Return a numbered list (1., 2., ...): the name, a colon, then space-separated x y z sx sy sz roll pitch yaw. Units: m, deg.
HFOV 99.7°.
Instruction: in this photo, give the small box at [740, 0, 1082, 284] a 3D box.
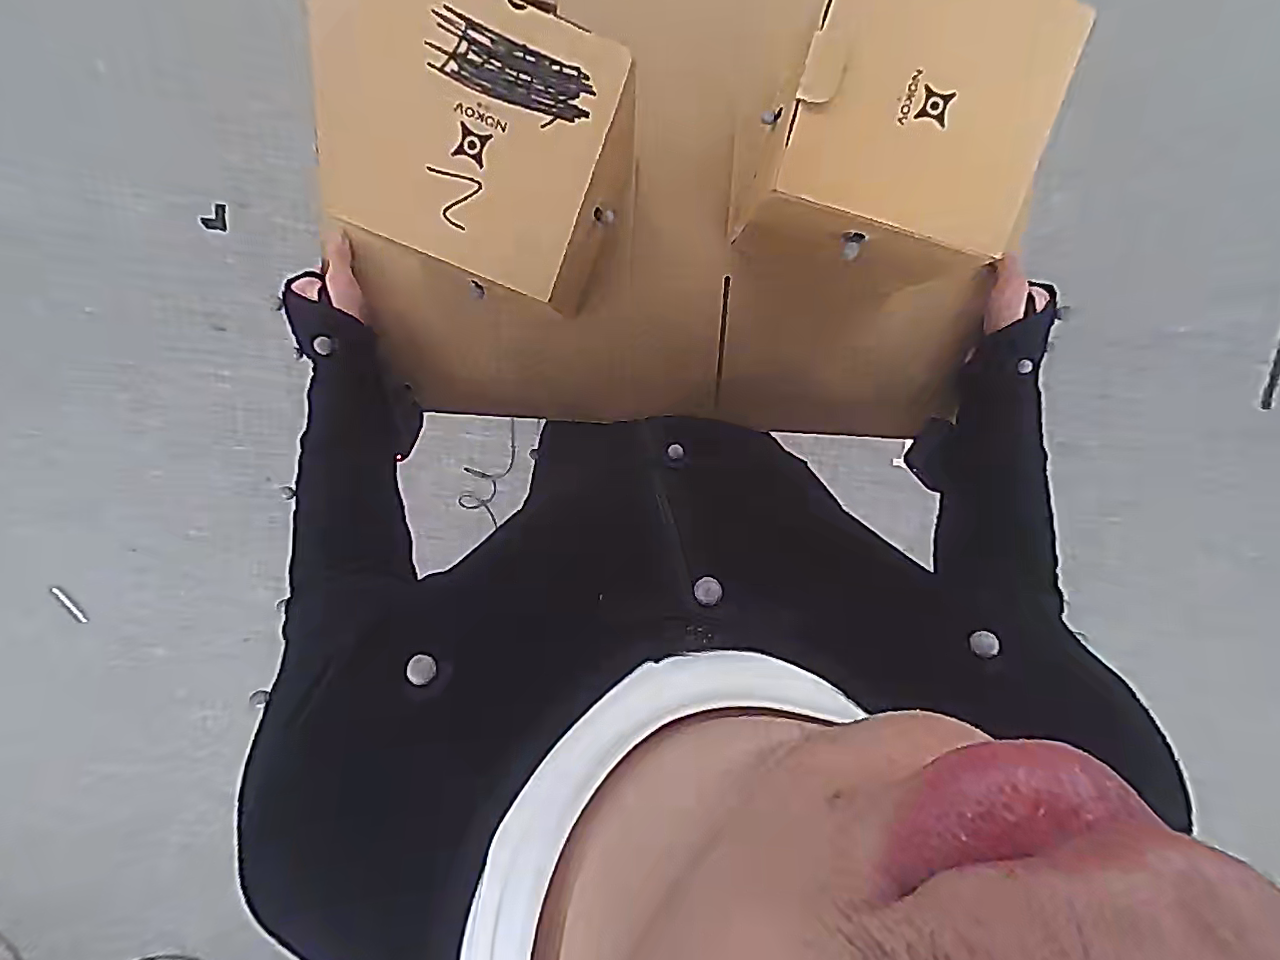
1. small box: 0.202 -0.279 0.463 0.179 0.176 0.168 16 101 -2
